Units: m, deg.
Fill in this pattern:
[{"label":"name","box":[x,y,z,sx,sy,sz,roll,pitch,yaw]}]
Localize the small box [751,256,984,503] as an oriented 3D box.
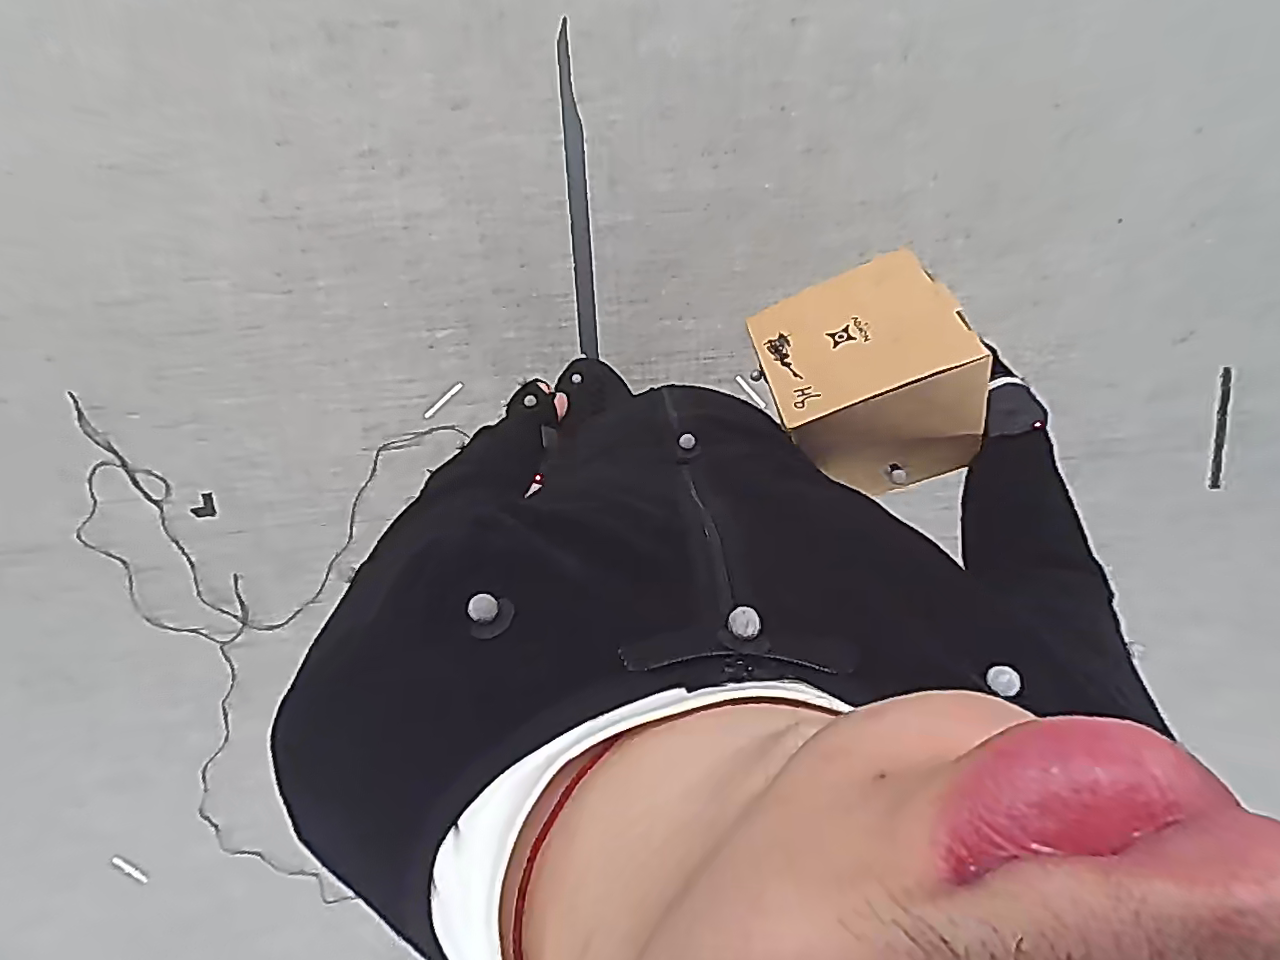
[{"label":"small box","box":[0.242,-0.101,0.596,0.179,0.168,0.176,-21,140,15]}]
